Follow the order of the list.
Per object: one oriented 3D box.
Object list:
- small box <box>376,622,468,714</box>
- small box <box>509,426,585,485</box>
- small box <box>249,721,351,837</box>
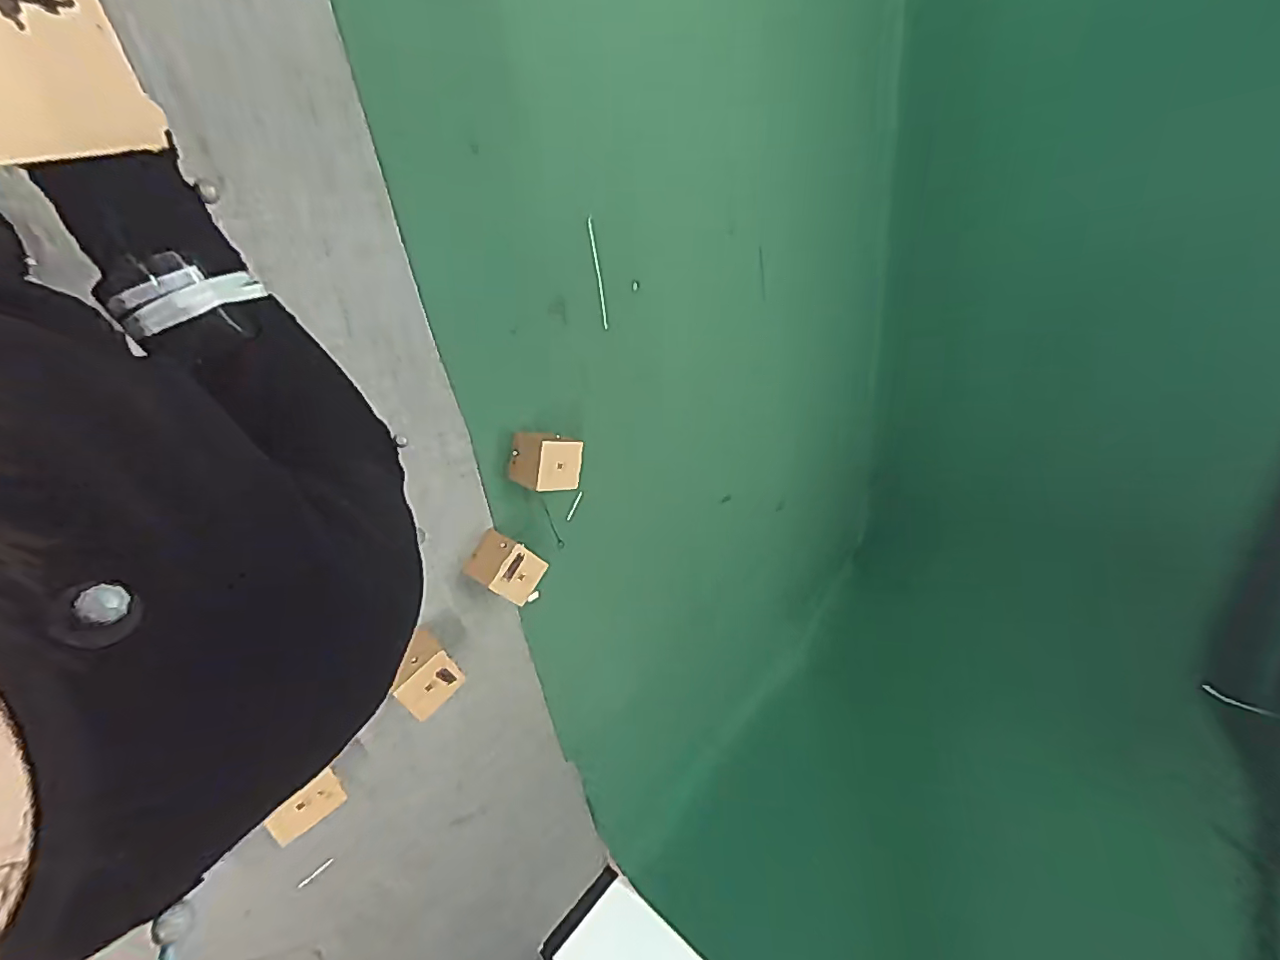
[{"bbox_3d":[-0.674,0.573,1.669,0.179,0.176,0.168,-42,131,-29],"label":"small box"},{"bbox_3d":[-0.314,-0.086,1.826,0.179,0.176,0.168,-3,106,-47],"label":"small box"},{"bbox_3d":[-0.931,0.806,1.473,0.179,0.176,0.168,-31,126,-37],"label":"small box"}]
